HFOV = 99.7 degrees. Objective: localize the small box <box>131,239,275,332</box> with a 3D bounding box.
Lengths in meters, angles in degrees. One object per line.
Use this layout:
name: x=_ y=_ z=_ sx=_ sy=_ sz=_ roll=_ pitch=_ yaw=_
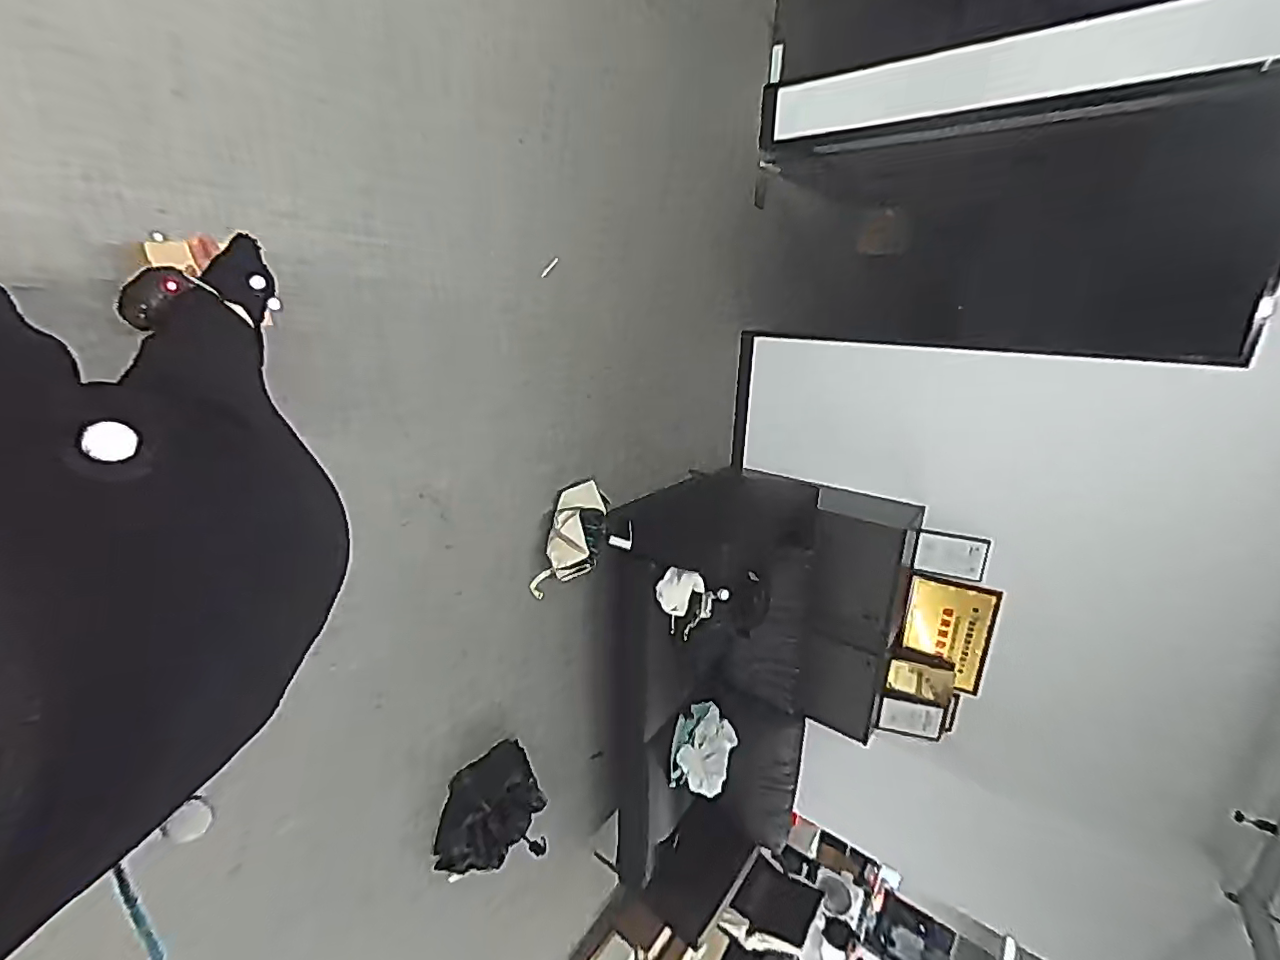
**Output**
small box: x=-0.892 y=-0.397 z=1.101 sx=0.179 sy=0.176 sz=0.168 roll=-28 pitch=124 yaw=-47
